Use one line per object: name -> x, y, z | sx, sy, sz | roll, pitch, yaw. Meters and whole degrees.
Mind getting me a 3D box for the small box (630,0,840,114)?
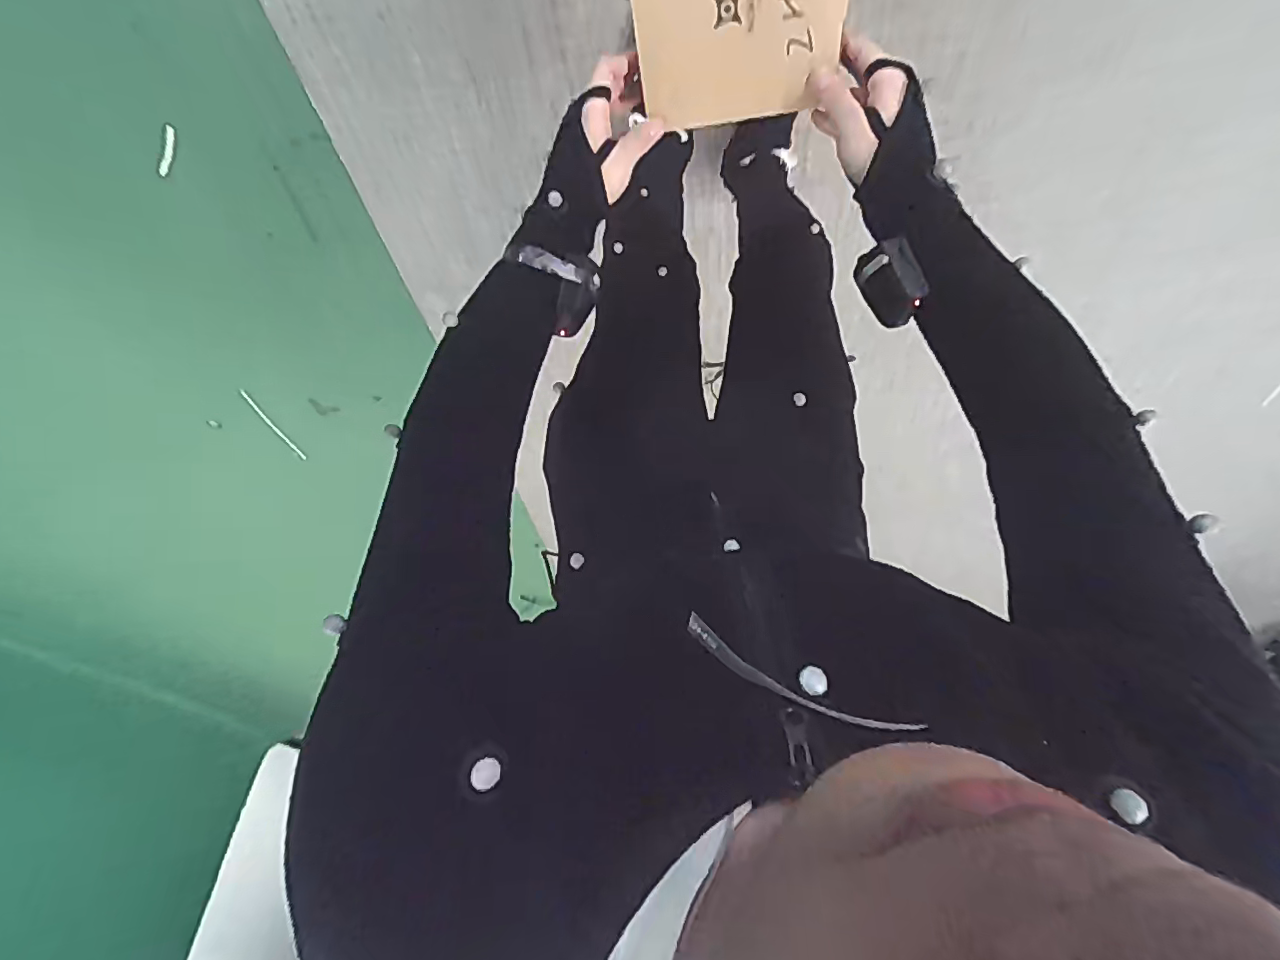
small box -> 0.083, -0.470, 0.493 | 0.179, 0.176, 0.168 | -3, 143, 10
